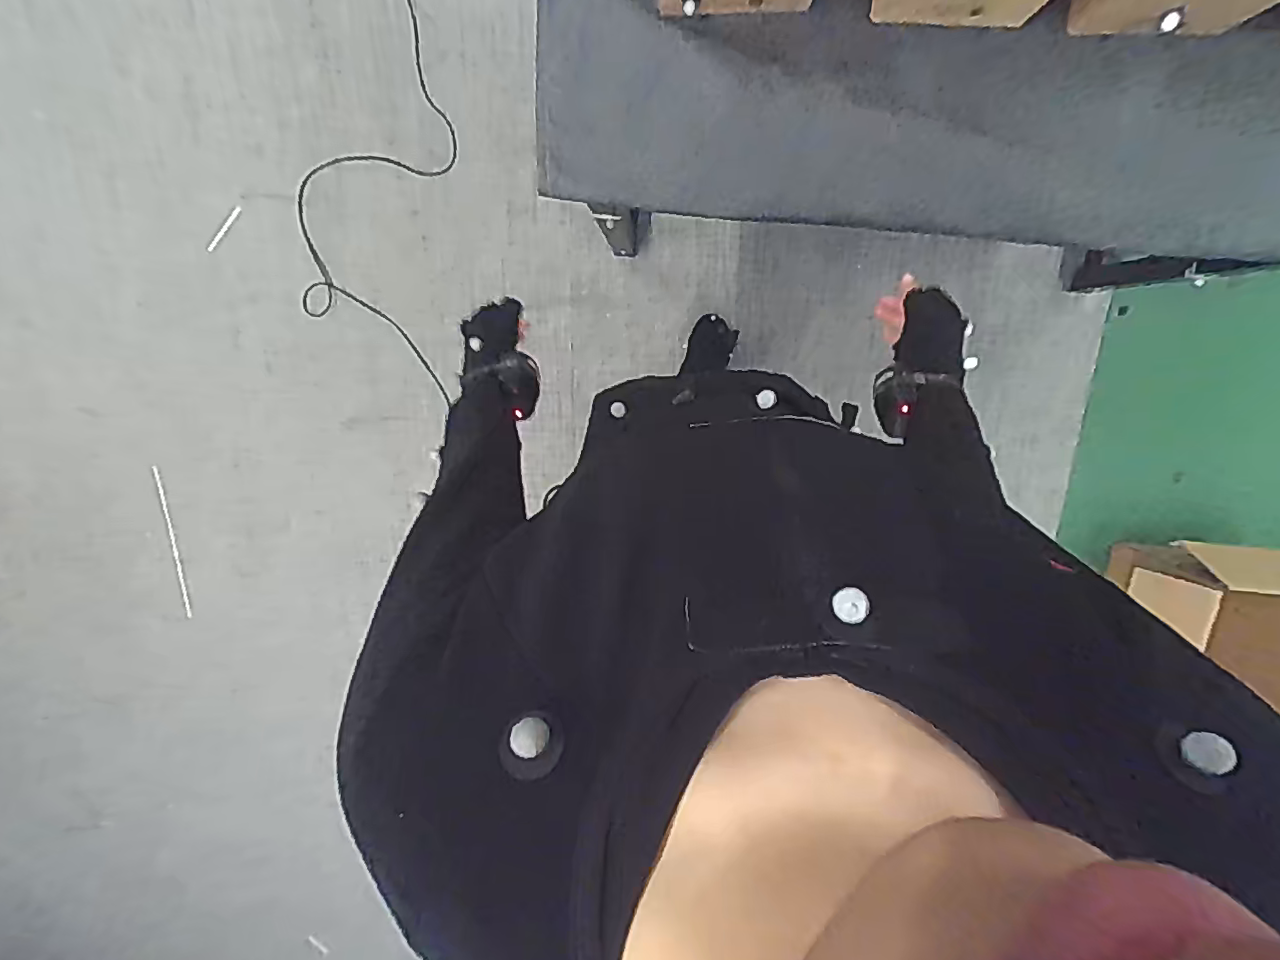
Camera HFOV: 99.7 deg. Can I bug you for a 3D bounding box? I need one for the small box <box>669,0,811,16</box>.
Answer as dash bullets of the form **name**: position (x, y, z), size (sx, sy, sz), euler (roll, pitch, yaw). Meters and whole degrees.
- **small box**: position (0.103, -0.576, 0.503), size (0.168, 0.176, 0.179), euler (0, 102, 2)
